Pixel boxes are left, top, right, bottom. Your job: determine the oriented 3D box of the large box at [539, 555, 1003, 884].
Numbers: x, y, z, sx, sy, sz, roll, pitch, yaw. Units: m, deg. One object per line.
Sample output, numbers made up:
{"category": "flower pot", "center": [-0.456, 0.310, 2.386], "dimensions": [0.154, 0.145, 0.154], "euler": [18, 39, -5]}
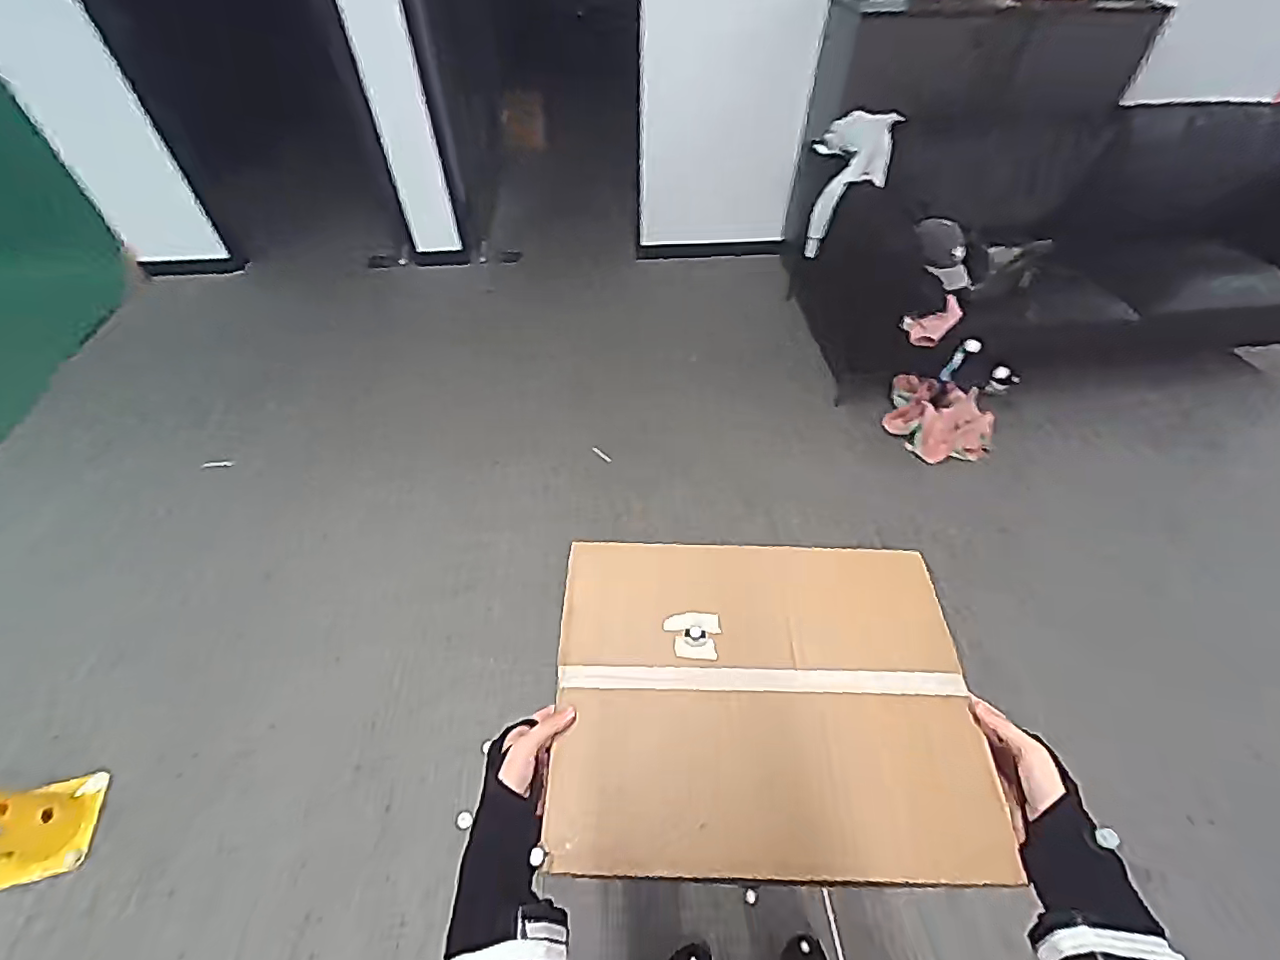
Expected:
{"category": "large box", "center": [0.113, 0.301, 0.663], "dimensions": [0.408, 0.320, 0.320], "euler": [1, 52, 0]}
